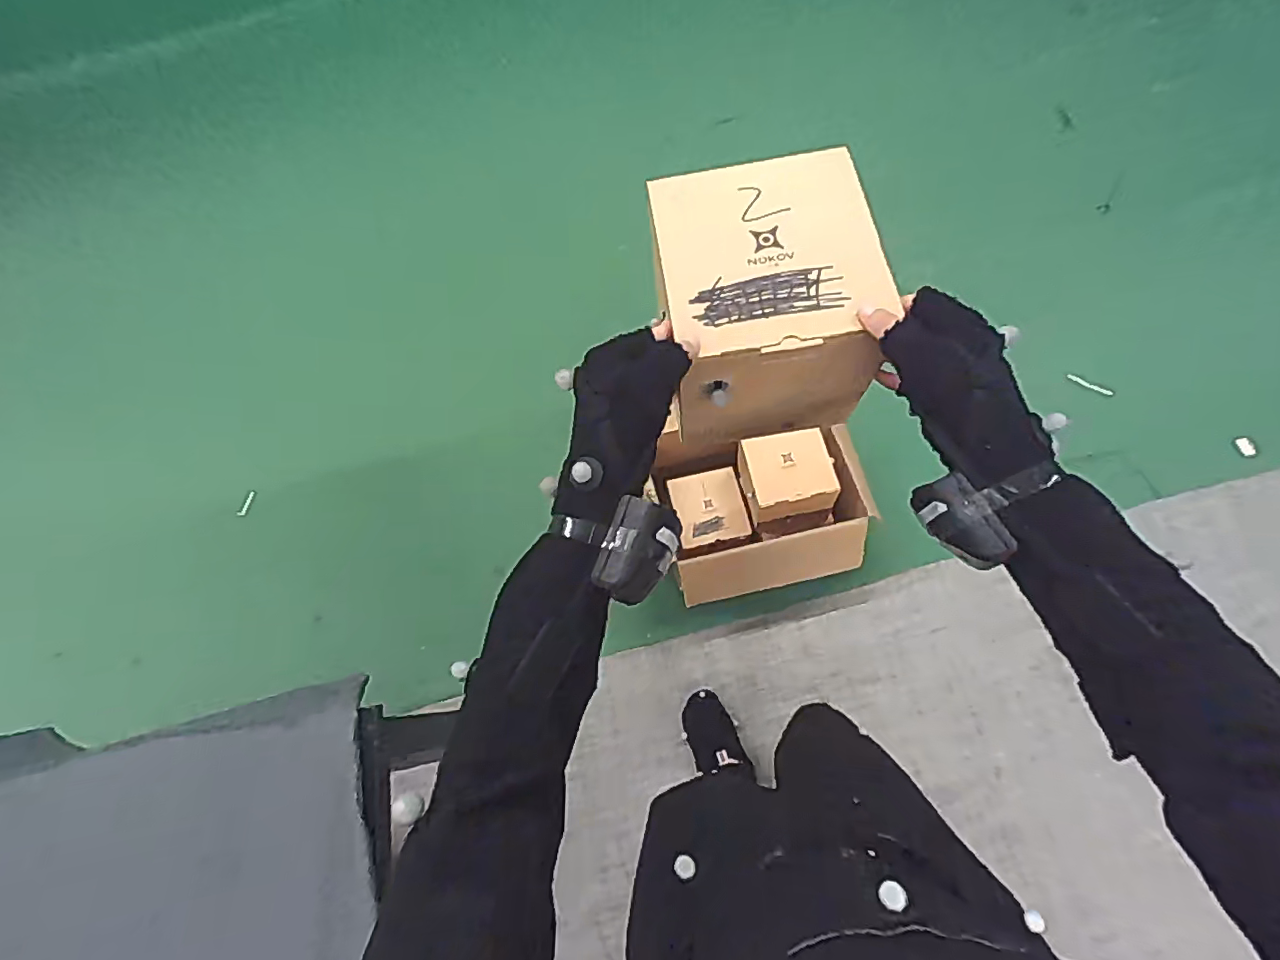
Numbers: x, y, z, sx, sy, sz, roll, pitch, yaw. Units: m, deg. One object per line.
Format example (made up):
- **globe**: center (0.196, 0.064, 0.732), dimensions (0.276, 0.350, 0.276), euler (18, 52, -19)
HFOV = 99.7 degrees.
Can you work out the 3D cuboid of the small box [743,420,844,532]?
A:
- **small box**: center (0.326, -0.004, 1.187), dimensions (0.168, 0.176, 0.179), euler (-13, 66, 5)
